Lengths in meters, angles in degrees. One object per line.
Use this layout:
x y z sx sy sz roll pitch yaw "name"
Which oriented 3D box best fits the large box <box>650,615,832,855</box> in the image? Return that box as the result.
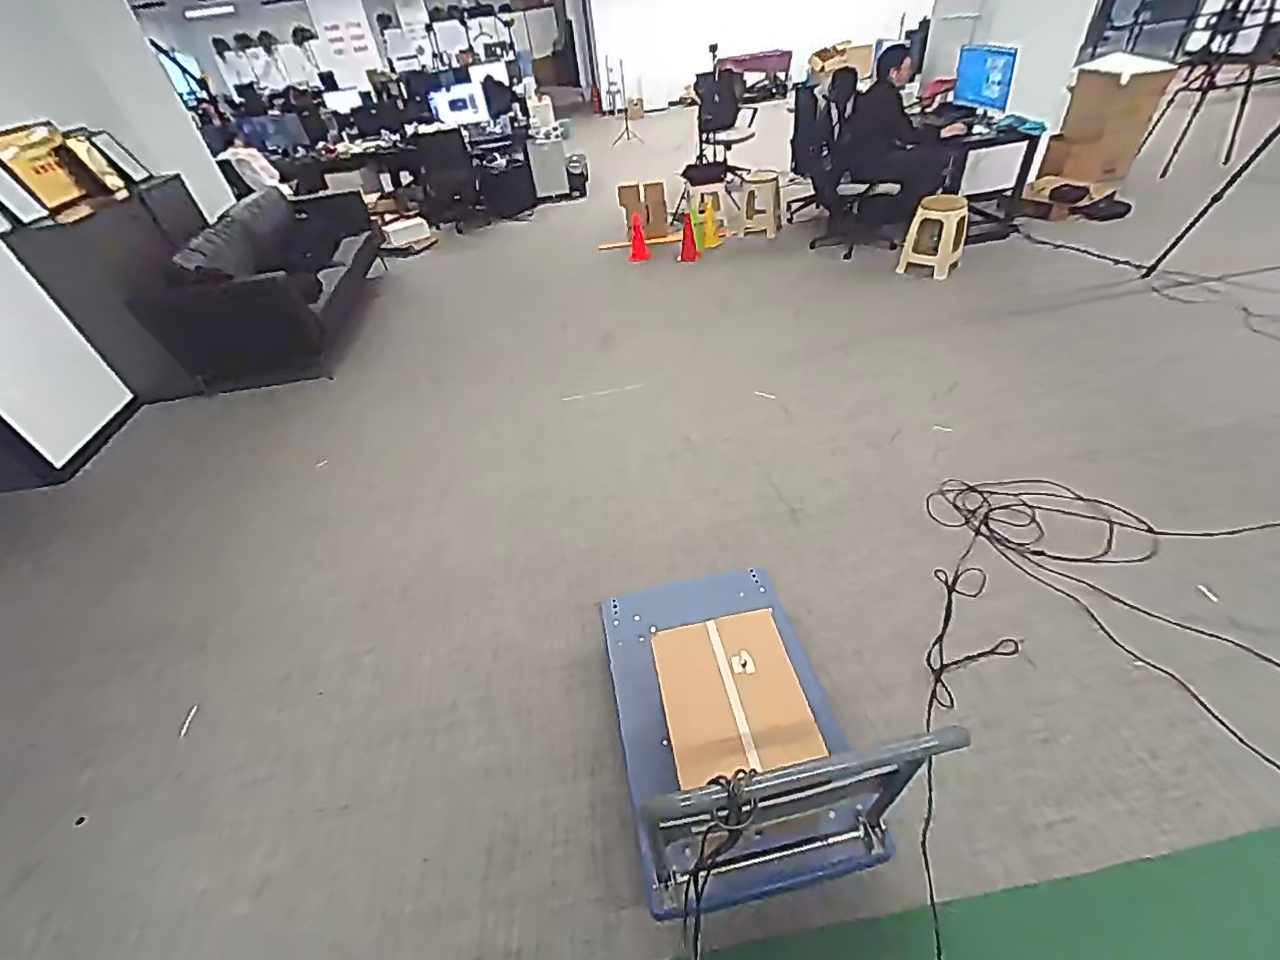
0.225 0.611 1.321 0.320 0.320 0.408 -10 40 -3 "large box"
